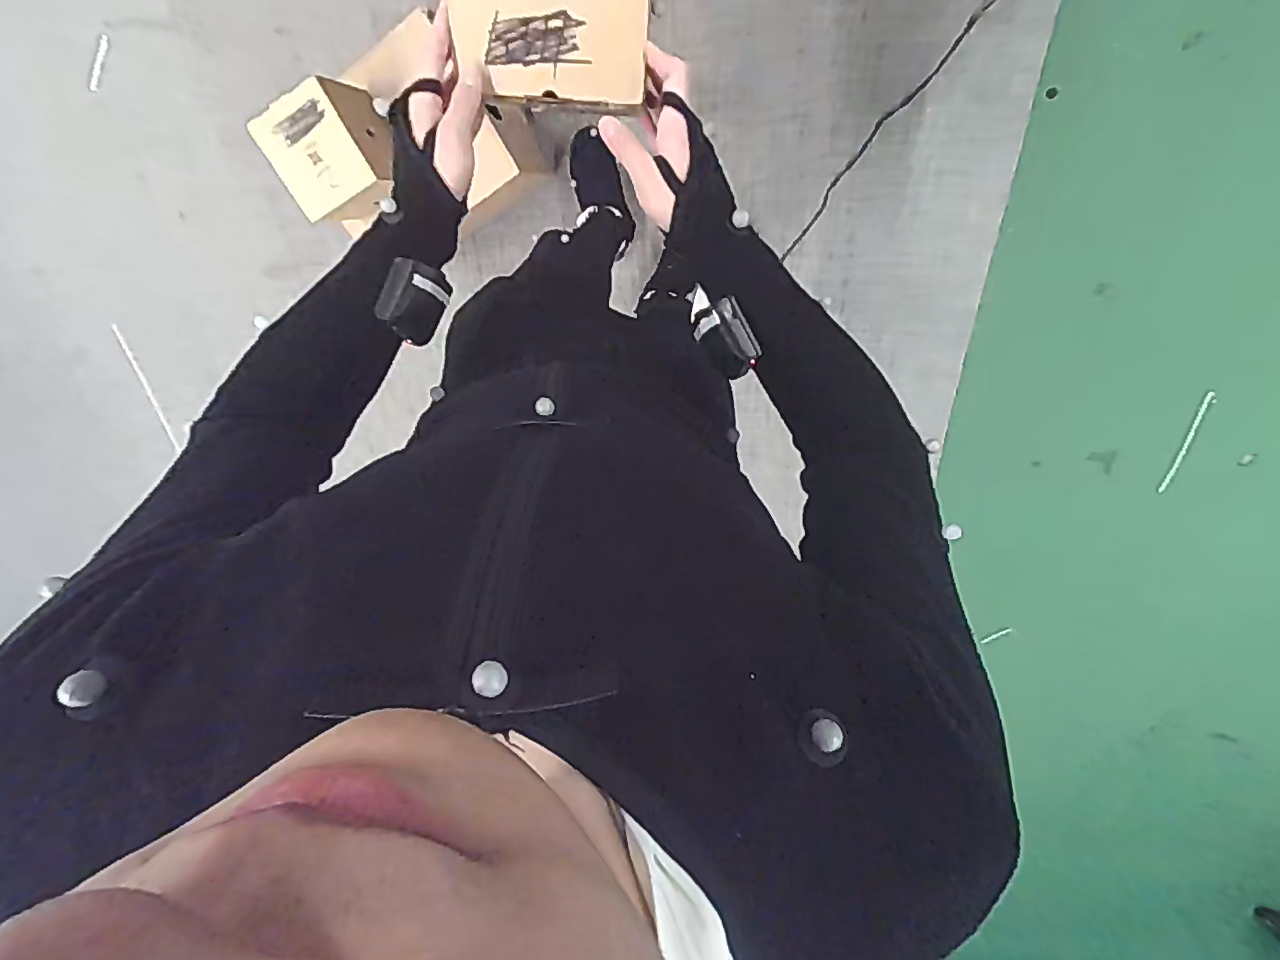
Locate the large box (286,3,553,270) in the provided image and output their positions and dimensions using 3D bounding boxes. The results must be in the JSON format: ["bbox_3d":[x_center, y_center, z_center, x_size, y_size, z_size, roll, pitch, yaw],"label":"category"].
[{"bbox_3d":[-0.470,-0.738,1.228,0.408,0.320,0.320,-26,114,17],"label":"large box"}]

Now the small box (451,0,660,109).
[{"bbox_3d":[-0.066,-0.450,0.491,0.168,0.176,0.179,4,121,0],"label":"small box"}]
